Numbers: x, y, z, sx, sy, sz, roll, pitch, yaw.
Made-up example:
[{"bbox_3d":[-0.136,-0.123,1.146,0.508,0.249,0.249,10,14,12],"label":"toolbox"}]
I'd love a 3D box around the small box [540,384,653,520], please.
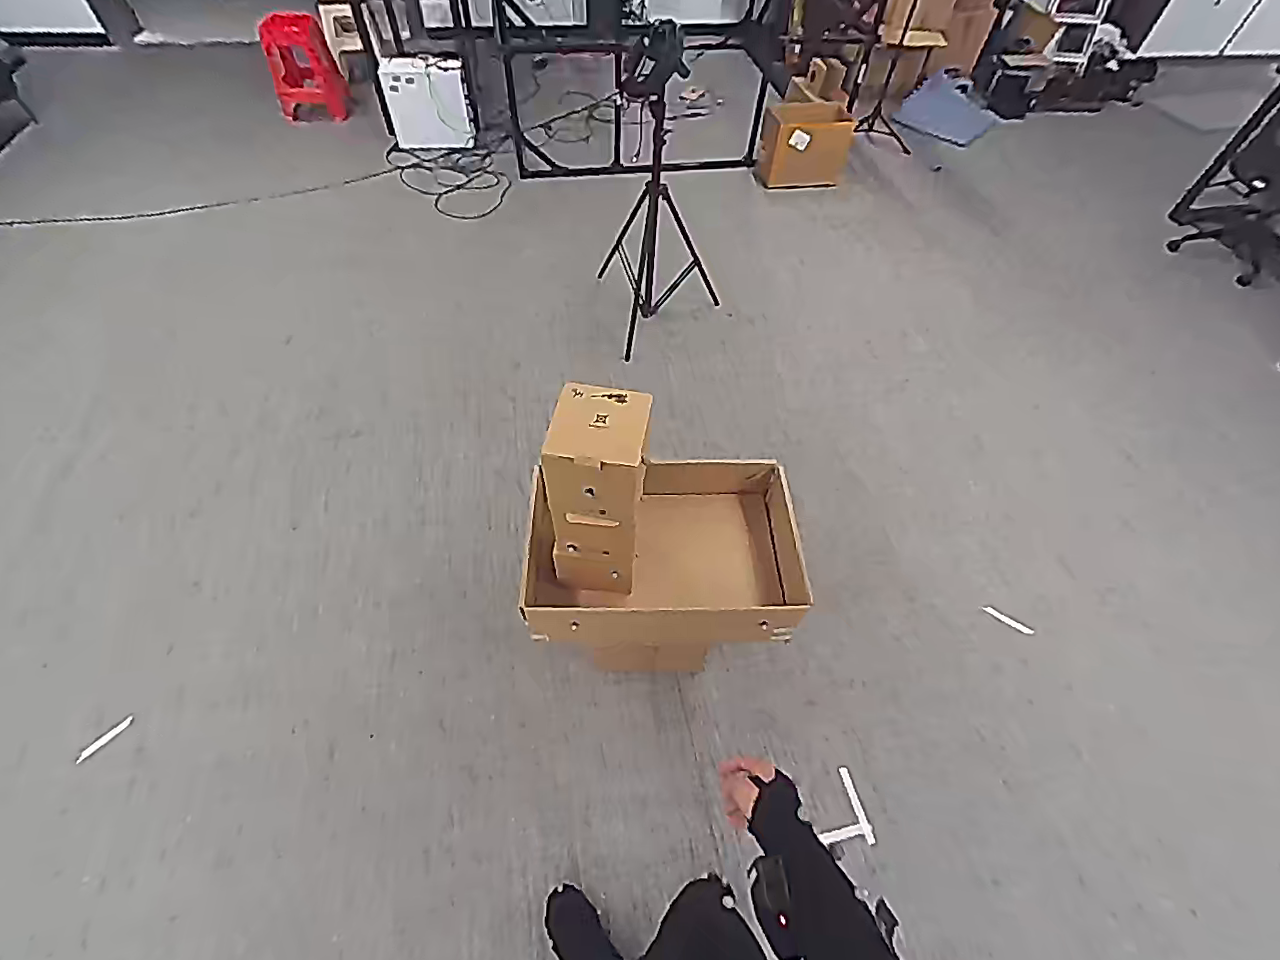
[{"bbox_3d":[-0.072,-0.048,0.998,0.168,0.176,0.179,9,54,4],"label":"small box"}]

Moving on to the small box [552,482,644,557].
[{"bbox_3d":[-0.080,0.045,1.133,0.168,0.176,0.179,6,53,2],"label":"small box"}]
